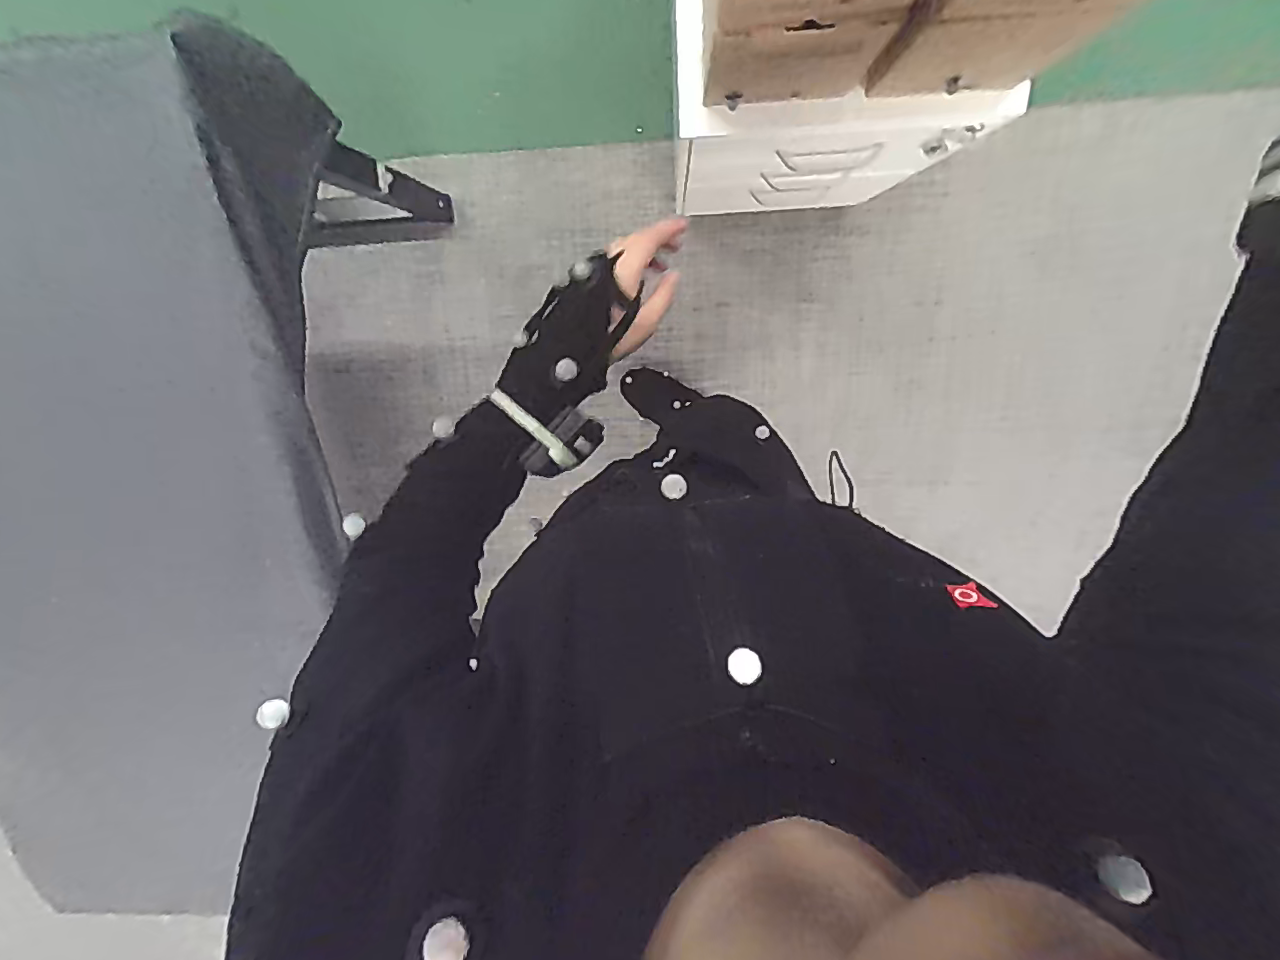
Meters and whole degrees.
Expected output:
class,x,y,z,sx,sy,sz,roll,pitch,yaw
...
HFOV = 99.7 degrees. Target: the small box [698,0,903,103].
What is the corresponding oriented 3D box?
class,x,y,z,sx,sy,sz,roll,pitch,yaw
small box,0.146,-0.492,0.525,0.168,0.176,0.179,-2,106,2
